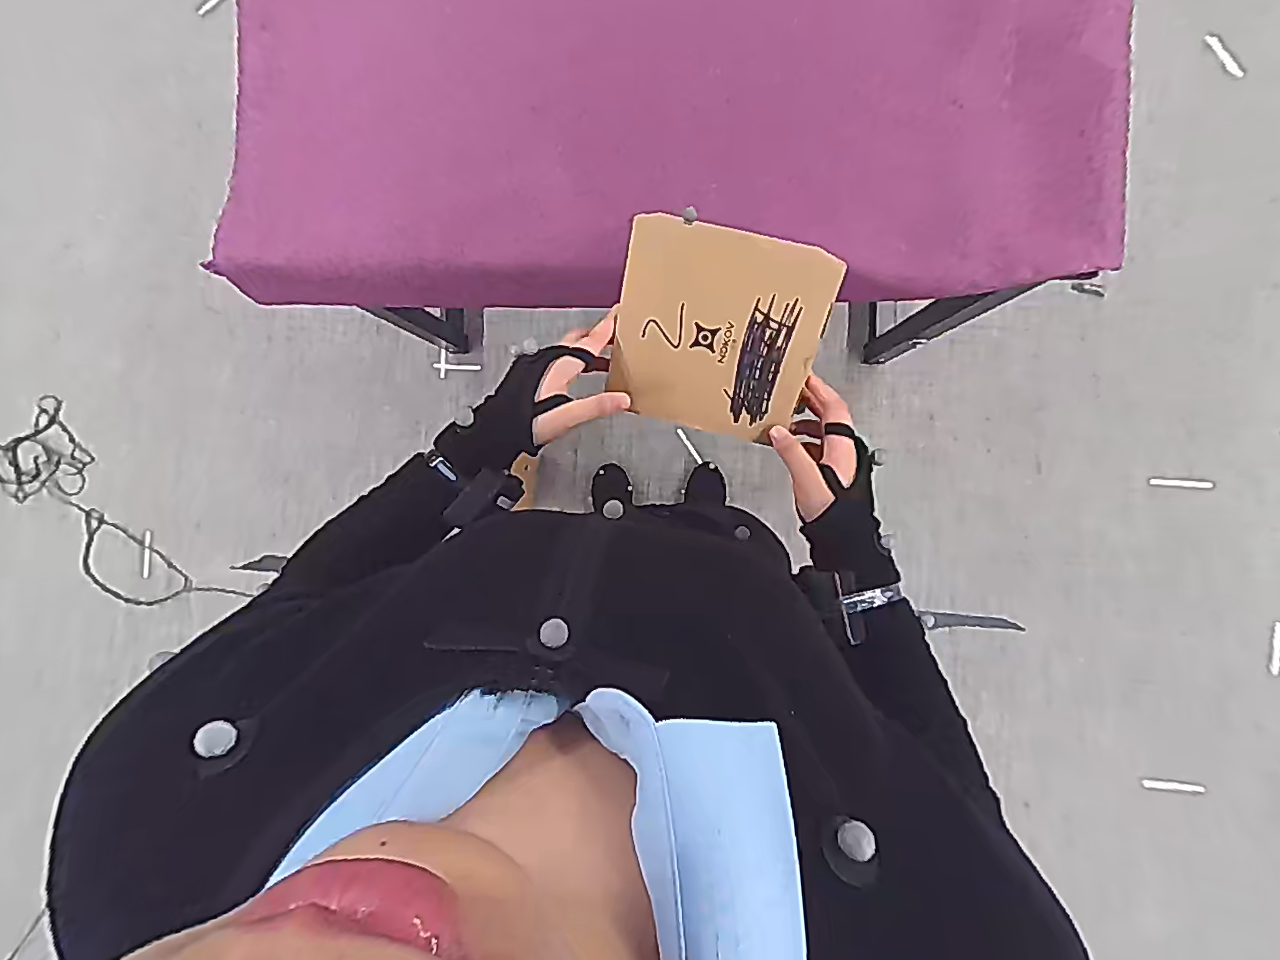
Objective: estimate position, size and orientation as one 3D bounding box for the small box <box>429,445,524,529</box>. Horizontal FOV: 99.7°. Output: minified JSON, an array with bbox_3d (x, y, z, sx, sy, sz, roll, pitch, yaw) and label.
[{"bbox_3d":[-0.378,0.014,1.276,0.168,0.176,0.179,4,92,4],"label":"small box"}]

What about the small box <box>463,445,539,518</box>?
[{"bbox_3d":[-0.376,0.007,1.441,0.168,0.176,0.179,9,92,3],"label":"small box"}]
